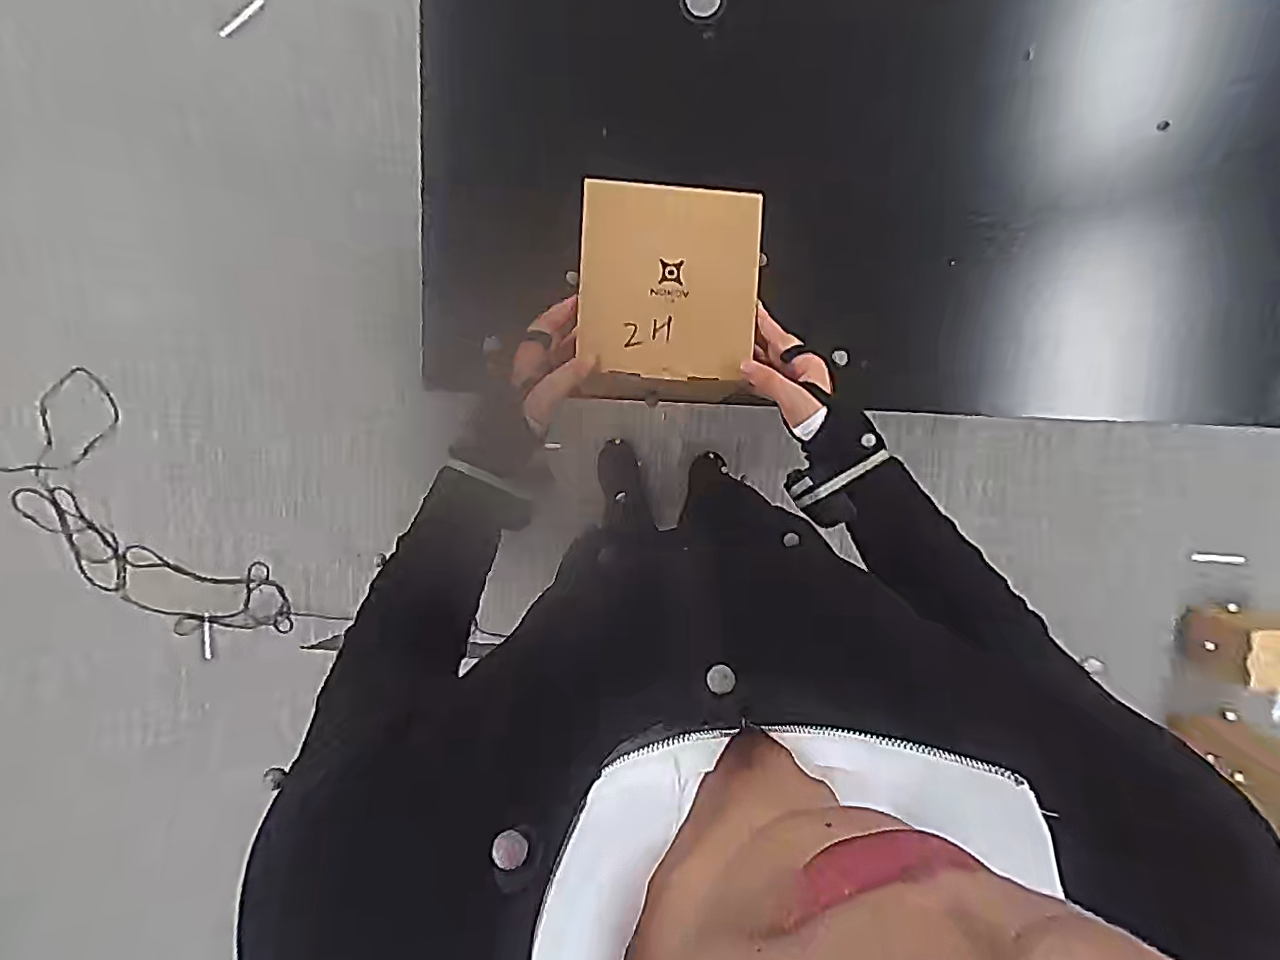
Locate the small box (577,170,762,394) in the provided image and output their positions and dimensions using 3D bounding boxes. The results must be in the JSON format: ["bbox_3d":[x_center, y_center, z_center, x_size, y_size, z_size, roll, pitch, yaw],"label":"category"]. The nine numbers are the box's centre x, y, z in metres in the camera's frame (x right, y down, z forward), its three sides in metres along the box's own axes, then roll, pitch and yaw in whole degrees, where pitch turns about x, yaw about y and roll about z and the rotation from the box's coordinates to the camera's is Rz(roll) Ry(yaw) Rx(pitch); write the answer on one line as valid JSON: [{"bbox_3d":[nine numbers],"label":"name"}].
[{"bbox_3d":[0.022,-0.193,0.576,0.168,0.176,0.179,3,93,-4],"label":"small box"}]

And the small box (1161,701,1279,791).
[{"bbox_3d":[1.654,0.757,1.542,0.168,0.176,0.179,6,100,-1],"label":"small box"}]

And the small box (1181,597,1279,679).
[{"bbox_3d":[1.662,0.431,1.493,0.179,0.176,0.168,-4,98,0],"label":"small box"}]

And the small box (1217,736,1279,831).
[{"bbox_3d":[1.657,0.775,1.380,0.179,0.176,0.168,1,97,1],"label":"small box"}]
